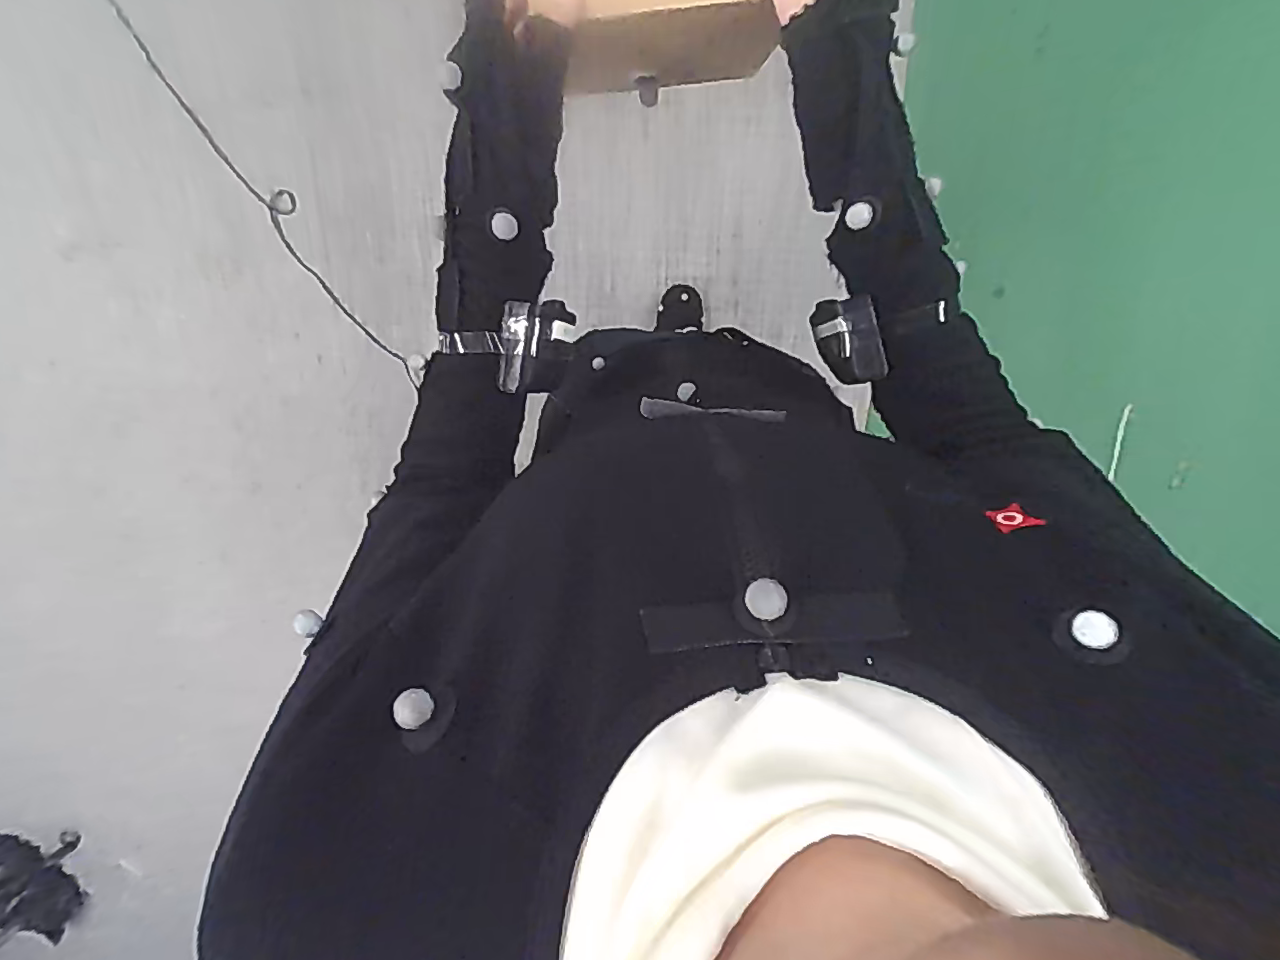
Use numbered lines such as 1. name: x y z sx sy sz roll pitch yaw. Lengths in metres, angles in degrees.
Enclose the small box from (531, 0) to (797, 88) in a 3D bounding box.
1. small box: 0.006 -0.384 0.345 0.168 0.176 0.179 -6 113 1
